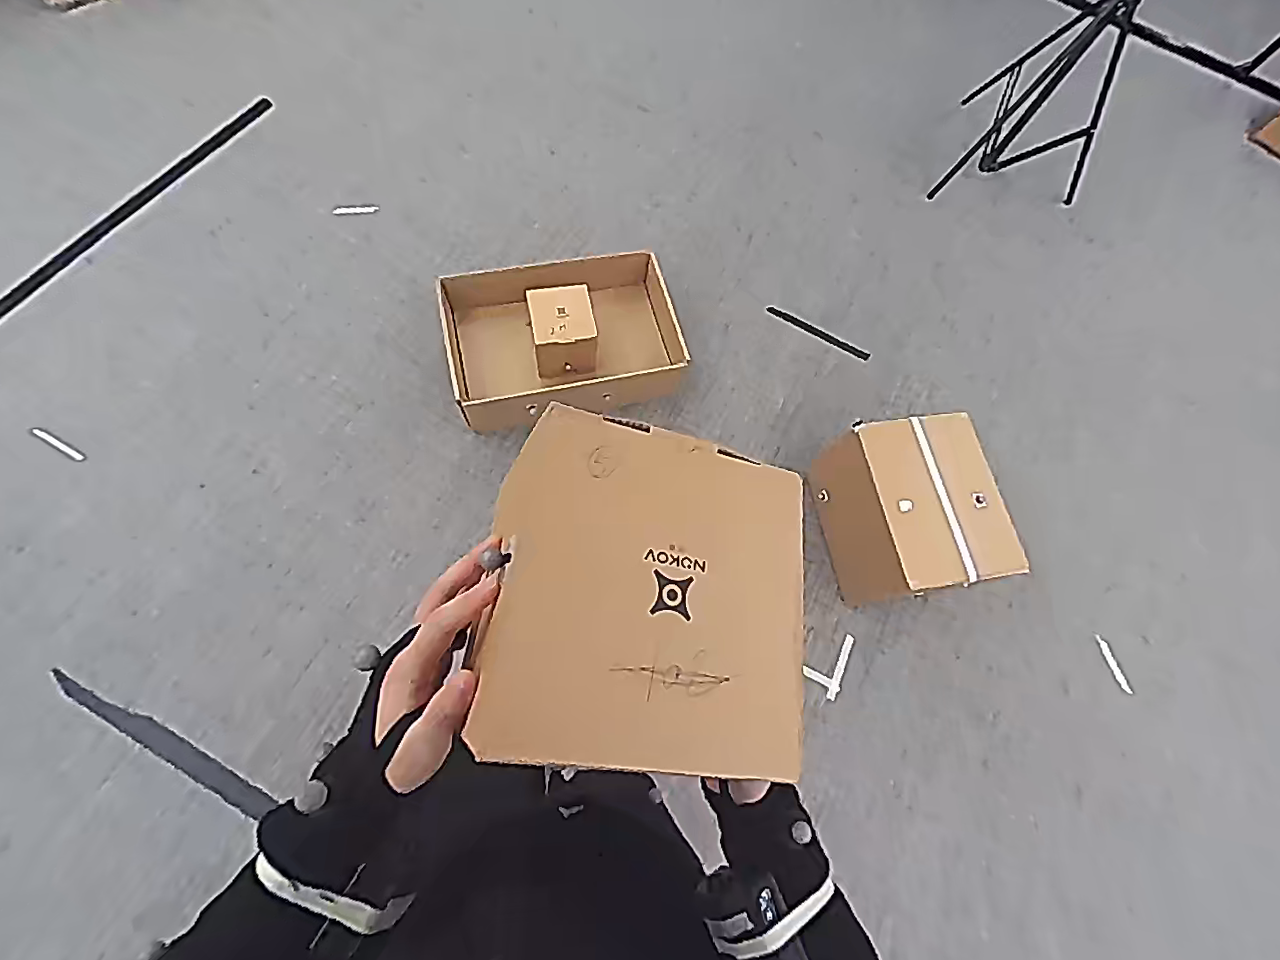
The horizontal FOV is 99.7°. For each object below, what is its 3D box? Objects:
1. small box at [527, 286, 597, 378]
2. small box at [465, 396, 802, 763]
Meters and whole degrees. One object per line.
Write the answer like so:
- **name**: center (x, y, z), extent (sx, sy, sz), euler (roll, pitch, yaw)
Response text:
- **small box**: center (-0.217, -0.409, 1.503), extent (0.168, 0.176, 0.179), euler (-10, 71, -9)
- **small box**: center (-0.013, 0.075, 0.360), extent (0.168, 0.176, 0.179), euler (14, 68, -18)
